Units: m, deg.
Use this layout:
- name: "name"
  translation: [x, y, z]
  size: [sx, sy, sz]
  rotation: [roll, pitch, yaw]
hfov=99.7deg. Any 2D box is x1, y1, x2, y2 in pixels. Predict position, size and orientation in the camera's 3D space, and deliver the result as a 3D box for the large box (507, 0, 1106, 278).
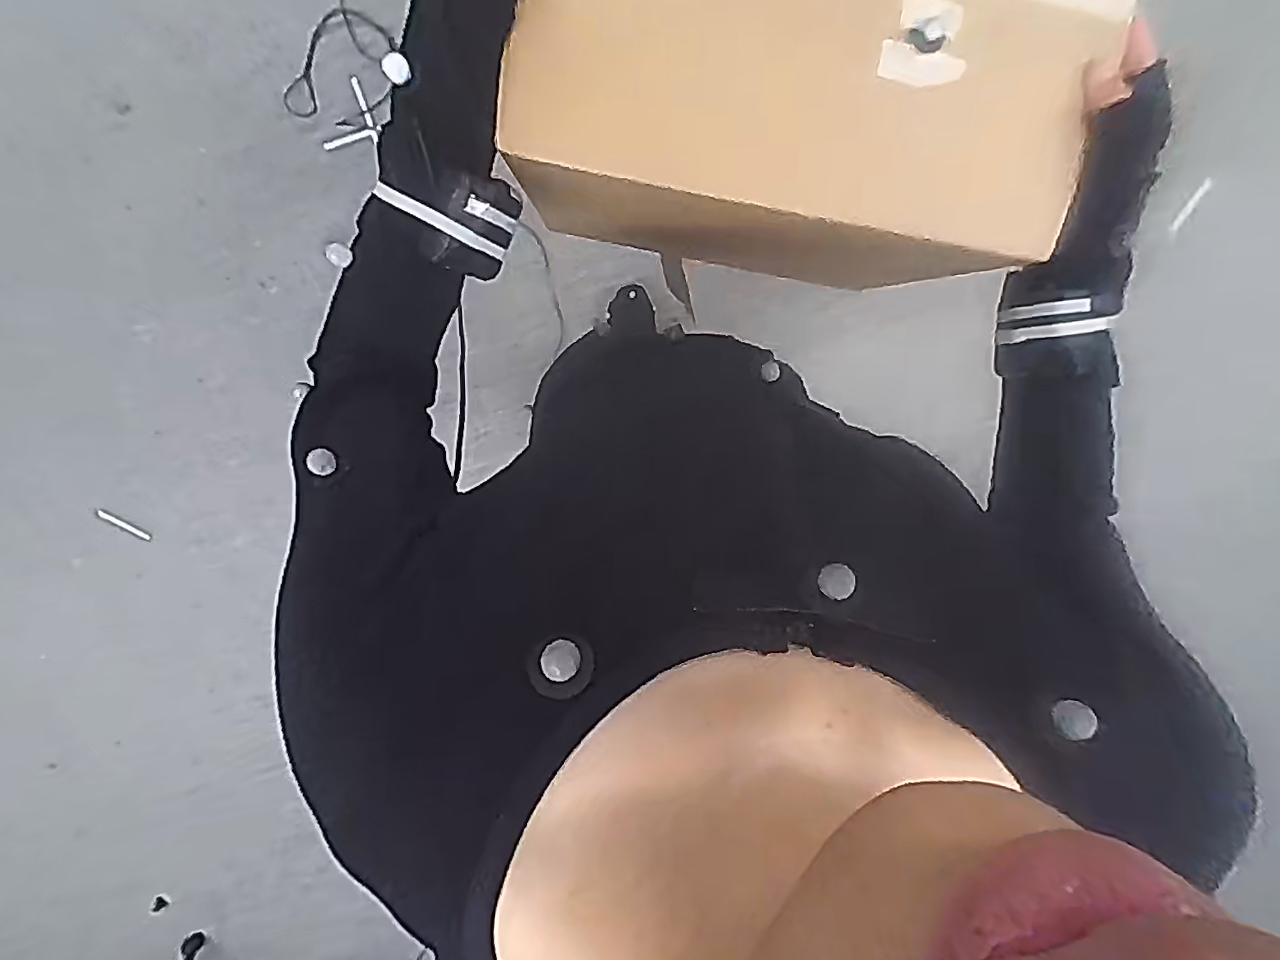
- name: "large box"
  translation: [0.113, -0.389, 0.496]
  size: [0.408, 0.320, 0.320]
  rotation: [8, 105, -6]
